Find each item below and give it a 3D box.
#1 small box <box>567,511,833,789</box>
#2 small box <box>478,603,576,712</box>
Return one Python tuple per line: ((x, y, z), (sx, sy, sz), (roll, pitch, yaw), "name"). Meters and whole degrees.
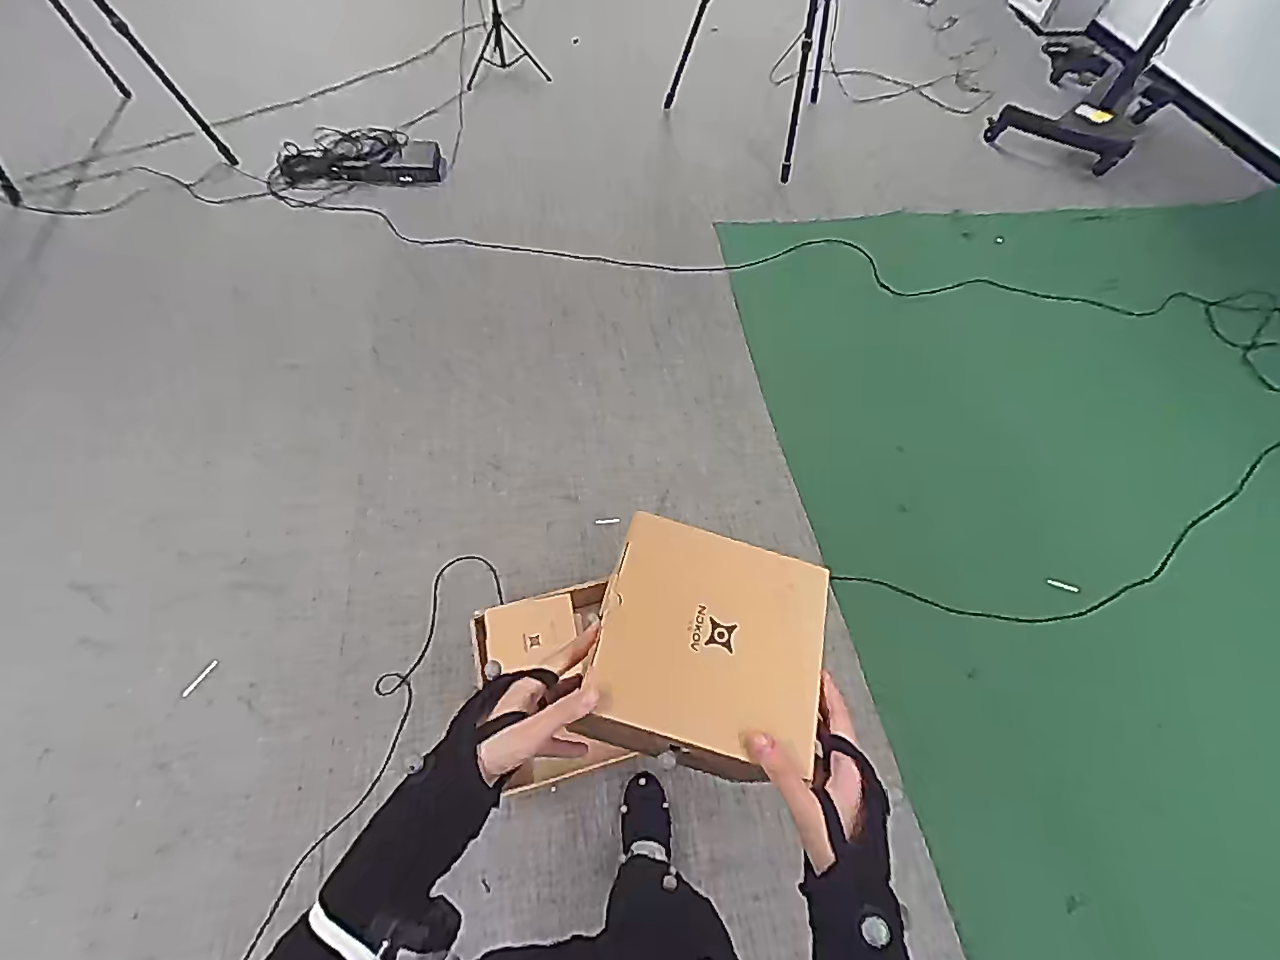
((0.045, 0.157, 0.485), (0.179, 0.176, 0.168), (19, 59, 1), "small box")
((-0.227, 0.369, 1.113), (0.179, 0.176, 0.168), (-7, 62, -11), "small box")
